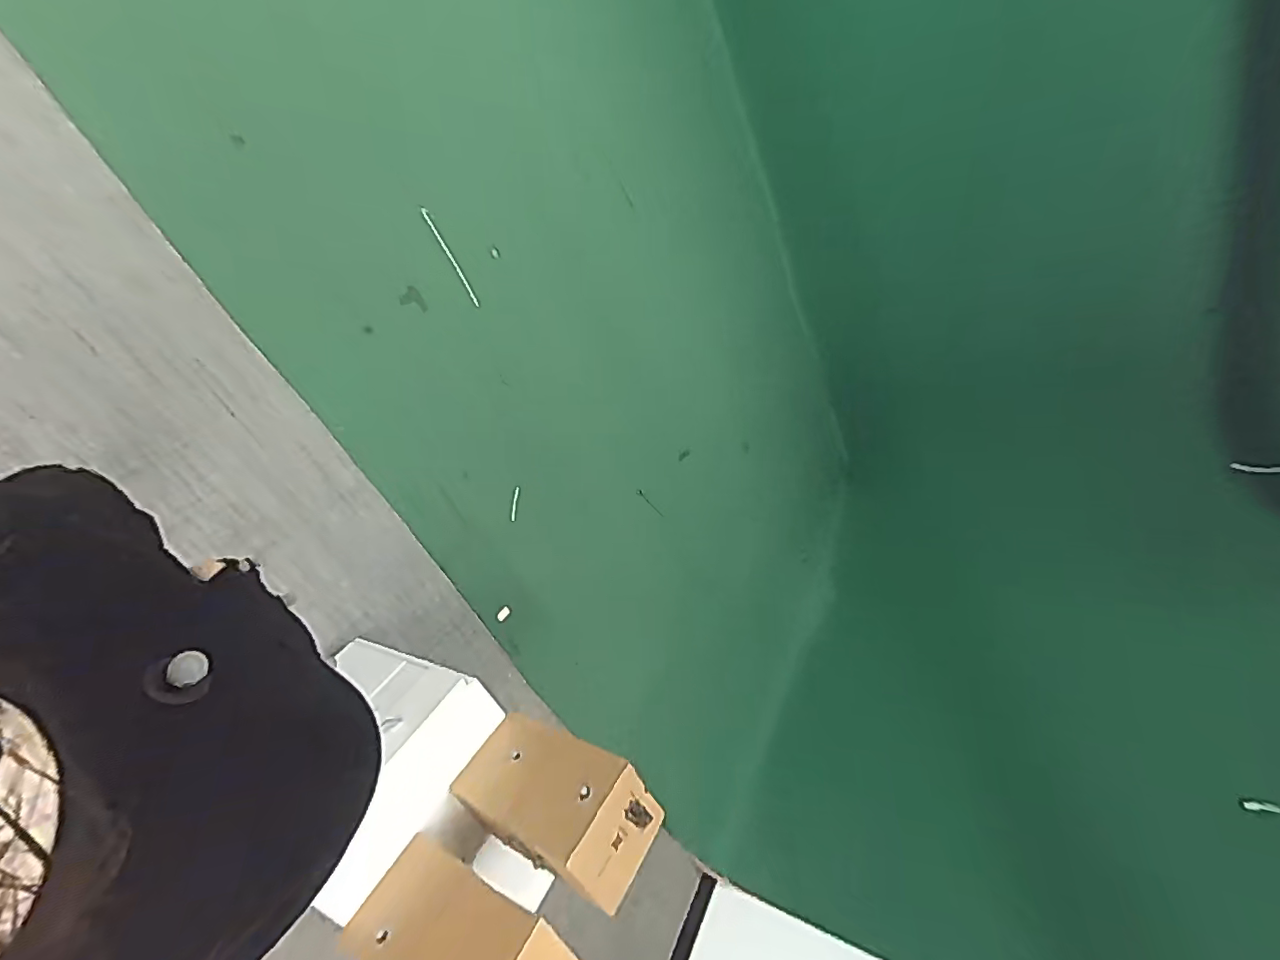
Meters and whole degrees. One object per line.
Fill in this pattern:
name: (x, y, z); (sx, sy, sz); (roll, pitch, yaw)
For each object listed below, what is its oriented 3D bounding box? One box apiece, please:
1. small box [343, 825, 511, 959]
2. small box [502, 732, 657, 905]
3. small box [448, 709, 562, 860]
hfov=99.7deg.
small box: (-0.358, 0.727, 0.902); (0.179, 0.176, 0.168); (-51, 127, -41)
small box: (-0.105, 0.581, 0.951); (0.179, 0.176, 0.168); (-48, 123, -38)
small box: (-0.234, 0.581, 1.056); (0.179, 0.176, 0.168); (-47, 123, -38)
